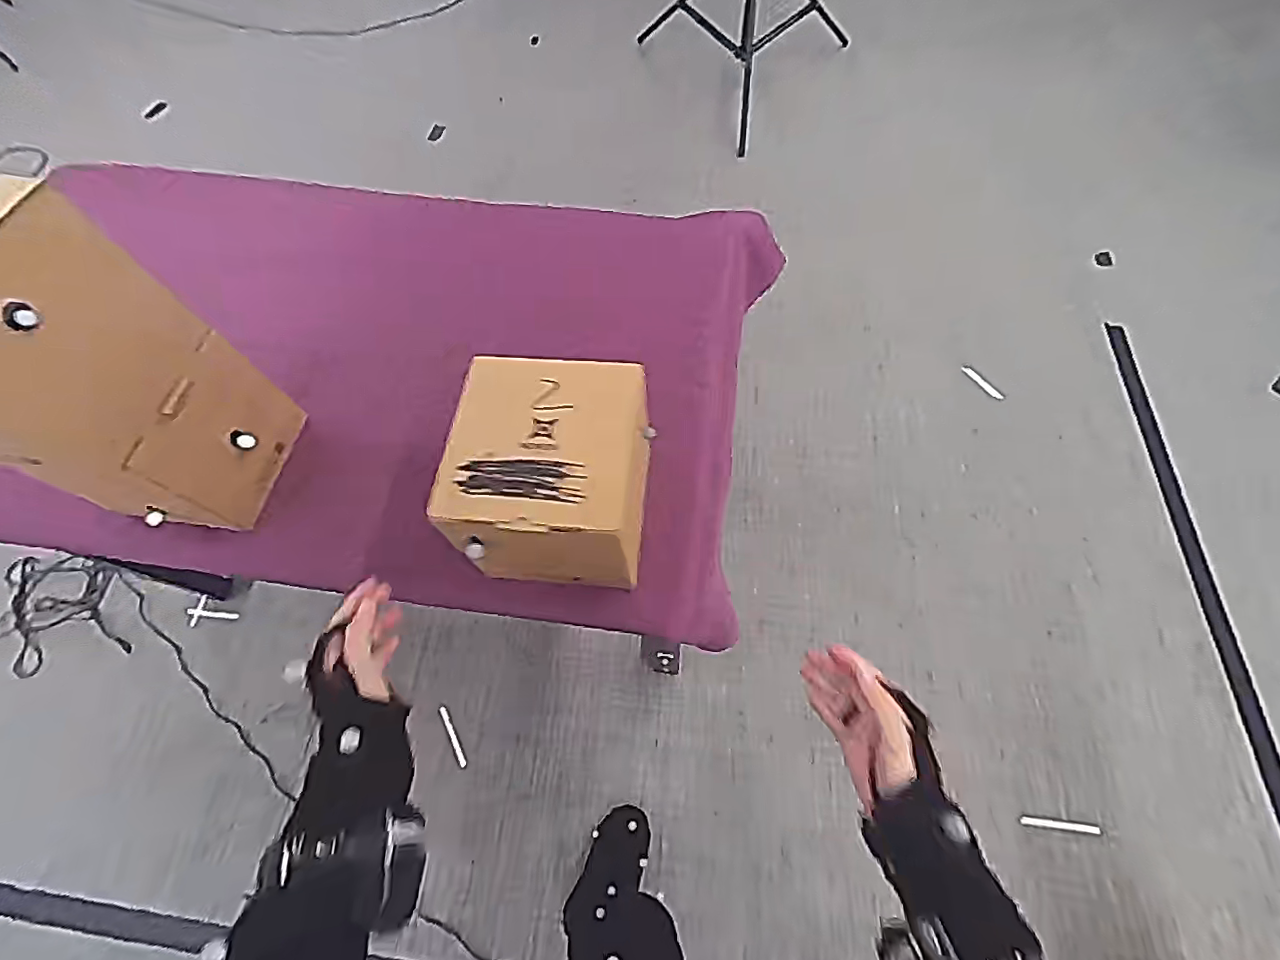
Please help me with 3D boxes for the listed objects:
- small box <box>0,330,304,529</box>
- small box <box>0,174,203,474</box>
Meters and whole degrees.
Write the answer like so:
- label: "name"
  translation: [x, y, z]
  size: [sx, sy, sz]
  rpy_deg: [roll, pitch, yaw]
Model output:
- label: "small box"
  translation: [-0.520, -0.055, 0.596]
  size: [0.179, 0.176, 0.168]
  rpy_deg: [7, 65, 5]
- label: "small box"
  translation: [-0.524, -0.121, 0.445]
  size: [0.168, 0.176, 0.179]
  rpy_deg: [7, 64, 6]
